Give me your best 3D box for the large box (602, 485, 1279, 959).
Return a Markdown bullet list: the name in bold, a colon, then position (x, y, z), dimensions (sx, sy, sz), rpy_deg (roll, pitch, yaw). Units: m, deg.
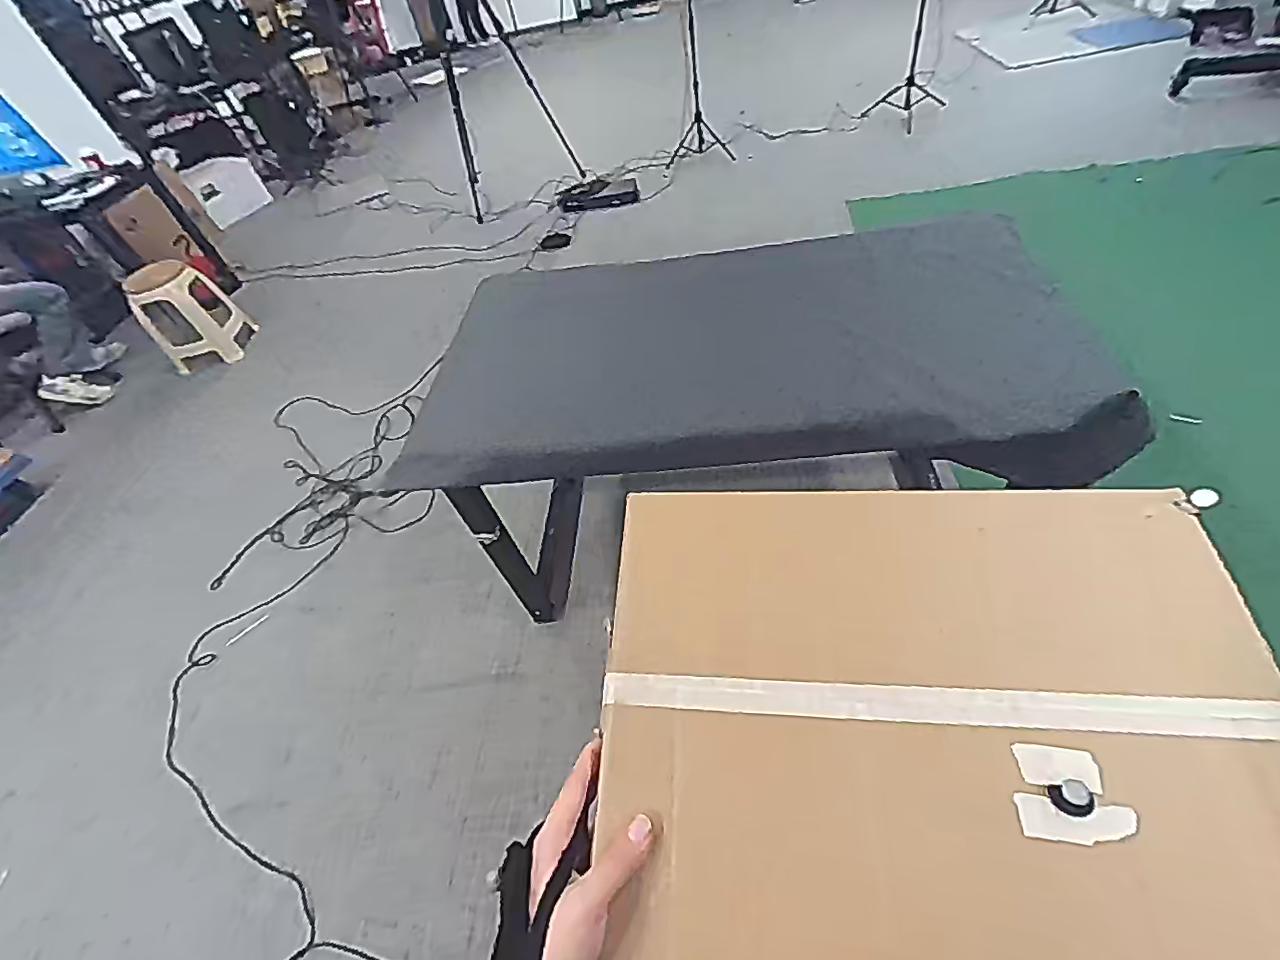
- **large box**: position (0.199, 0.216, 0.481), dimensions (0.408, 0.320, 0.320), rpy_deg (-1, 59, 8)
